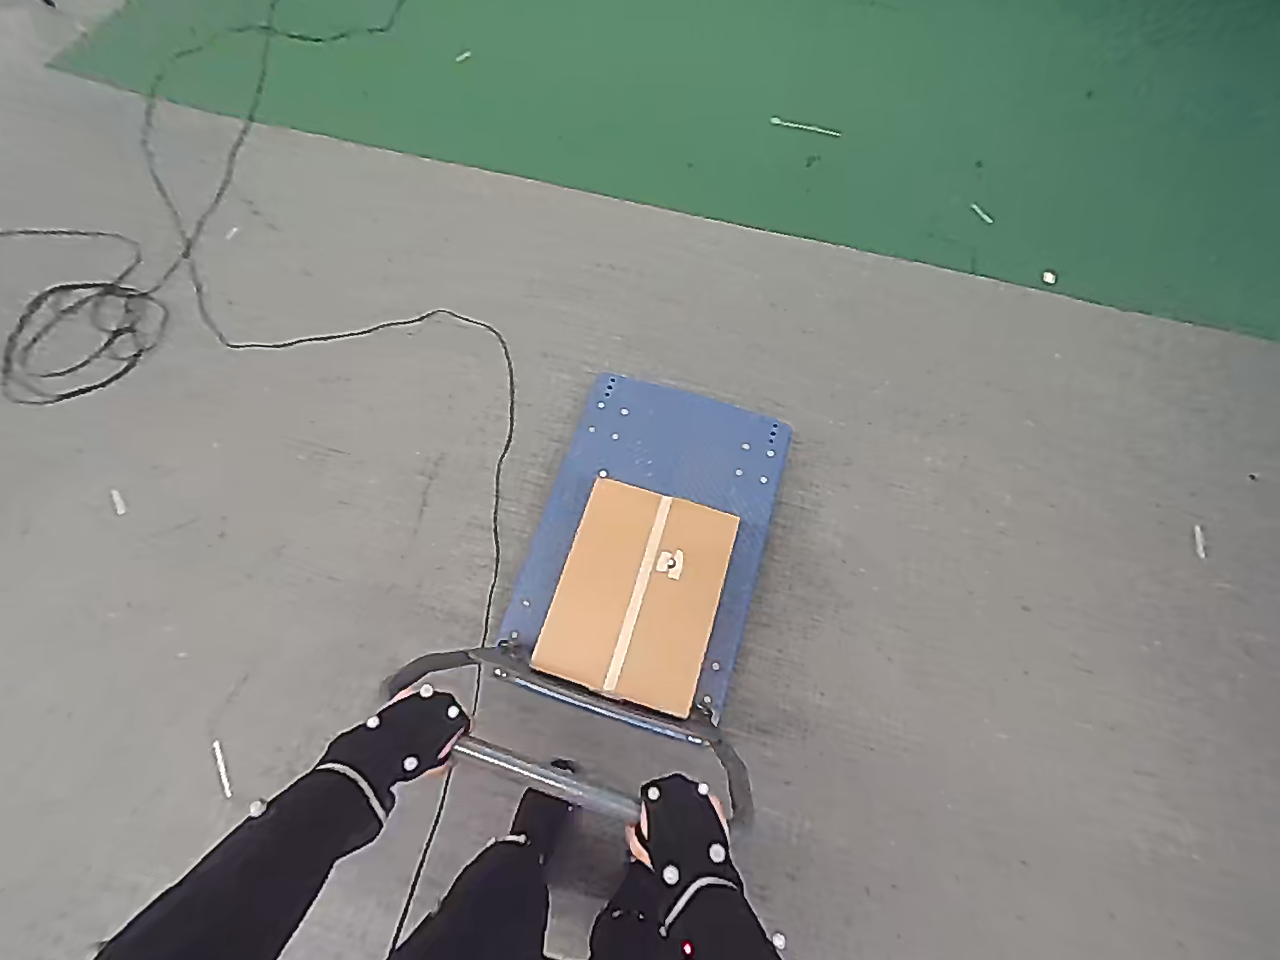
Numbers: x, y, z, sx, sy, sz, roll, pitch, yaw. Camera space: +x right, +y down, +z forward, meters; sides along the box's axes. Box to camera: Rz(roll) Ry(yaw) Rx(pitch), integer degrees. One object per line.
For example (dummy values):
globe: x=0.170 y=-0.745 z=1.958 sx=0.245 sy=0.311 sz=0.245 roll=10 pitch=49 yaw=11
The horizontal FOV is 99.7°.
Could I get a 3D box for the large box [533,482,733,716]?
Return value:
large box: x=-0.005 y=0.273 z=1.213 sx=0.320 sy=0.320 sz=0.408 roll=16 pitch=70 yaw=5
